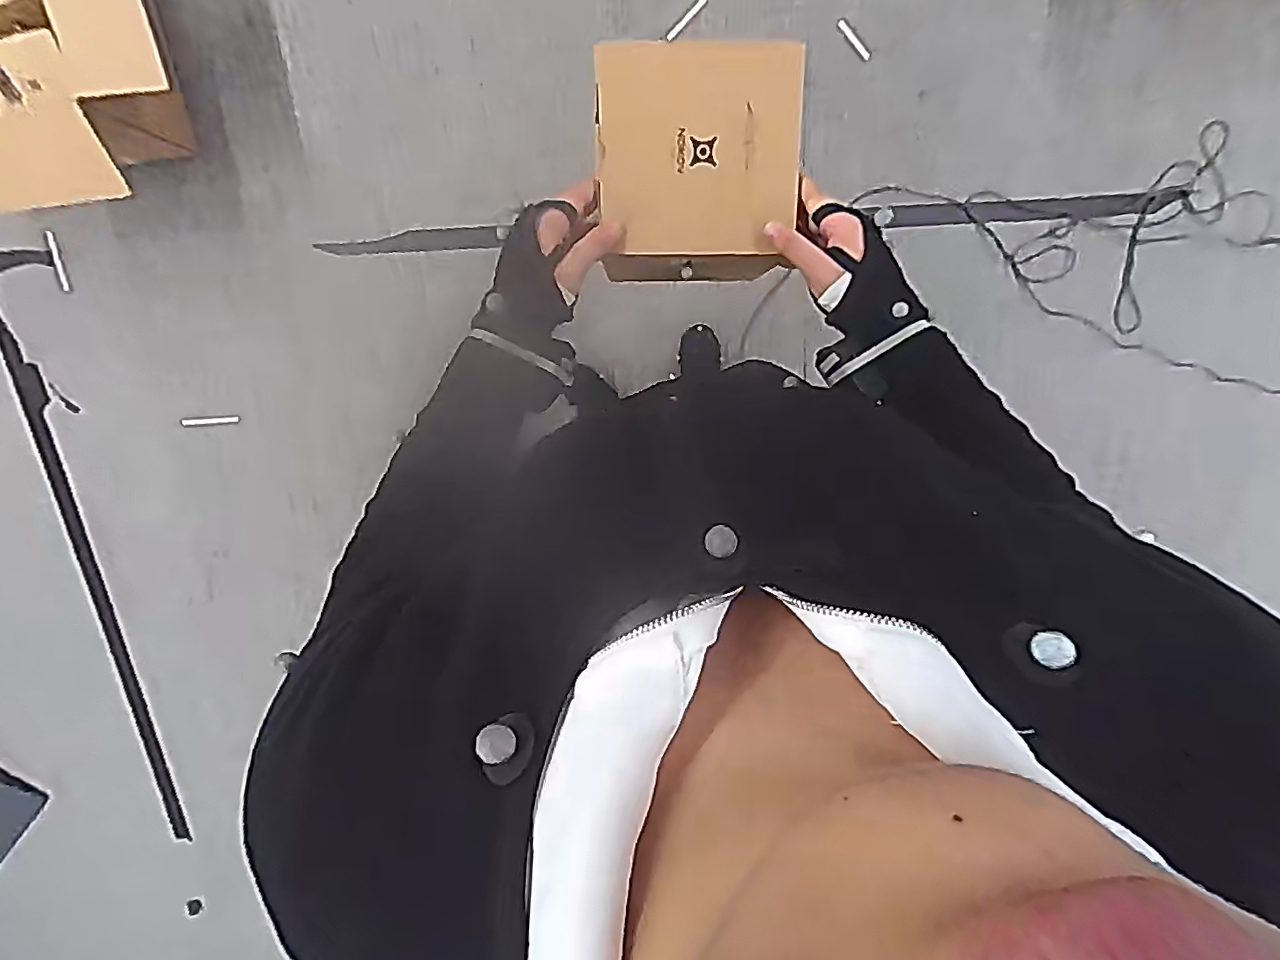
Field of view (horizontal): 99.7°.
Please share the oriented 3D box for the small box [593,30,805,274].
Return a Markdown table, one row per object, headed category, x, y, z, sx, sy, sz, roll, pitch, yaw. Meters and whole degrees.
| category | x | y | z | sx | sy | sz | roll | pitch | yaw |
| --- | --- | --- | --- | --- | --- | --- | --- | --- | --- |
| small box | 0.049 | -0.303 | 0.536 | 0.179 | 0.176 | 0.168 | -1 | 103 | -1 |
